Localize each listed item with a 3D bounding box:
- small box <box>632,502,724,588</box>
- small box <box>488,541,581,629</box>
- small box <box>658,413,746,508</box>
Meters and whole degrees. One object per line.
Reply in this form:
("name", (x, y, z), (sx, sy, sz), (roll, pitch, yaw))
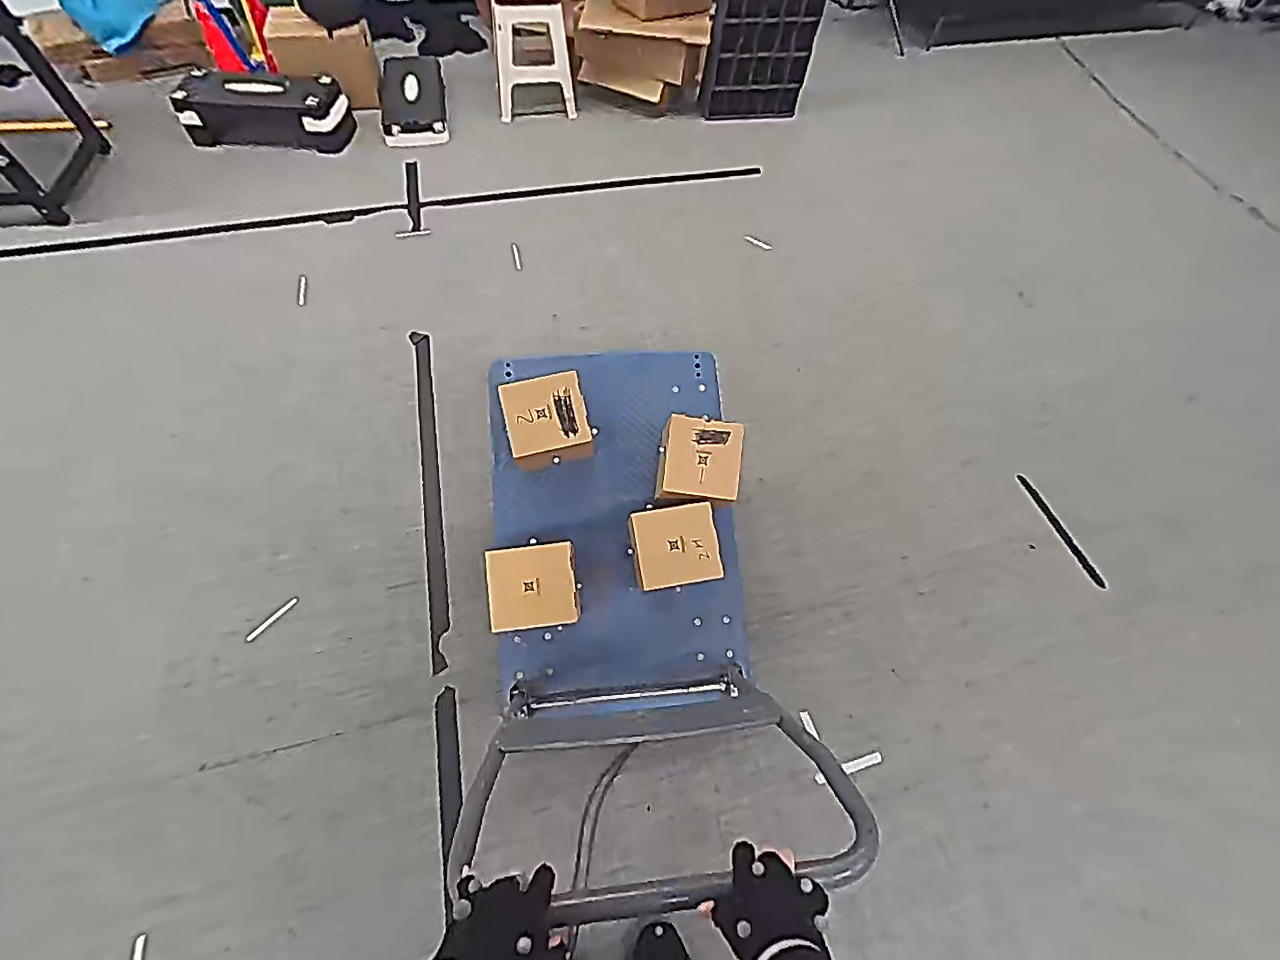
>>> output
("small box", (0.076, 0.150, 1.219), (0.179, 0.176, 0.168), (-8, 82, -5))
("small box", (-0.225, 0.228, 1.184), (0.179, 0.176, 0.168), (-6, 81, -7))
("small box", (0.137, -0.039, 1.255), (0.168, 0.176, 0.179), (8, 81, -2))
